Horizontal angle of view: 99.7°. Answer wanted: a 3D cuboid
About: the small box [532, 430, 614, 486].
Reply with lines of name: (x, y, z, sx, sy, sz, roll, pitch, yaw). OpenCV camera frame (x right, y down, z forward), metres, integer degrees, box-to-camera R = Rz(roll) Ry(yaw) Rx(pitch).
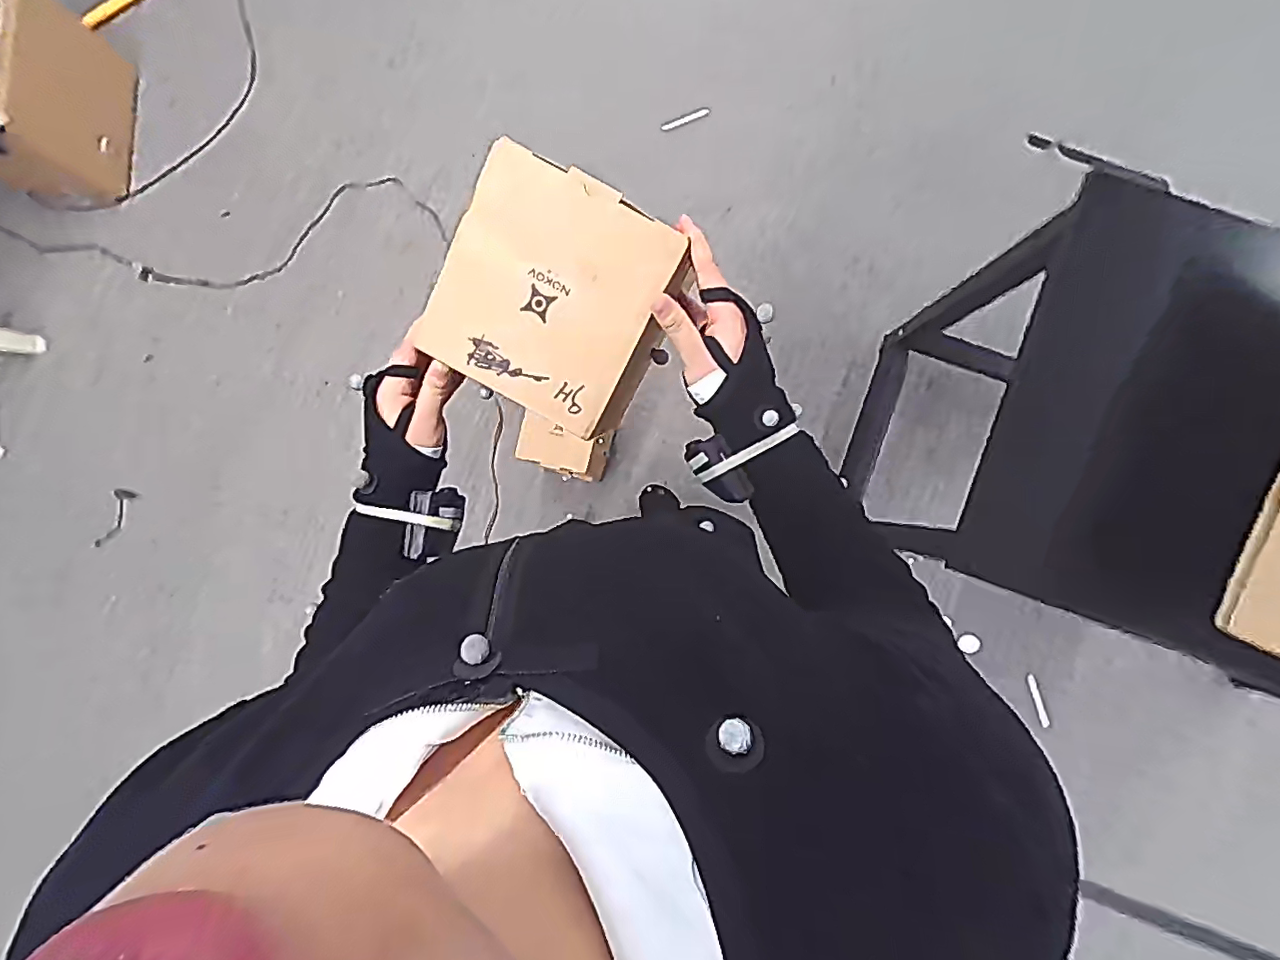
small box: (-0.172, -0.089, 1.434, 0.168, 0.176, 0.179, 16, 89, 3)

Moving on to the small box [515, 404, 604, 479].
small box: (-0.178, -0.104, 1.274, 0.168, 0.176, 0.179, 13, 86, 2)

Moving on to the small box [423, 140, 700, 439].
small box: (-0.059, -0.157, 0.501, 0.168, 0.176, 0.179, 30, 101, 2)
